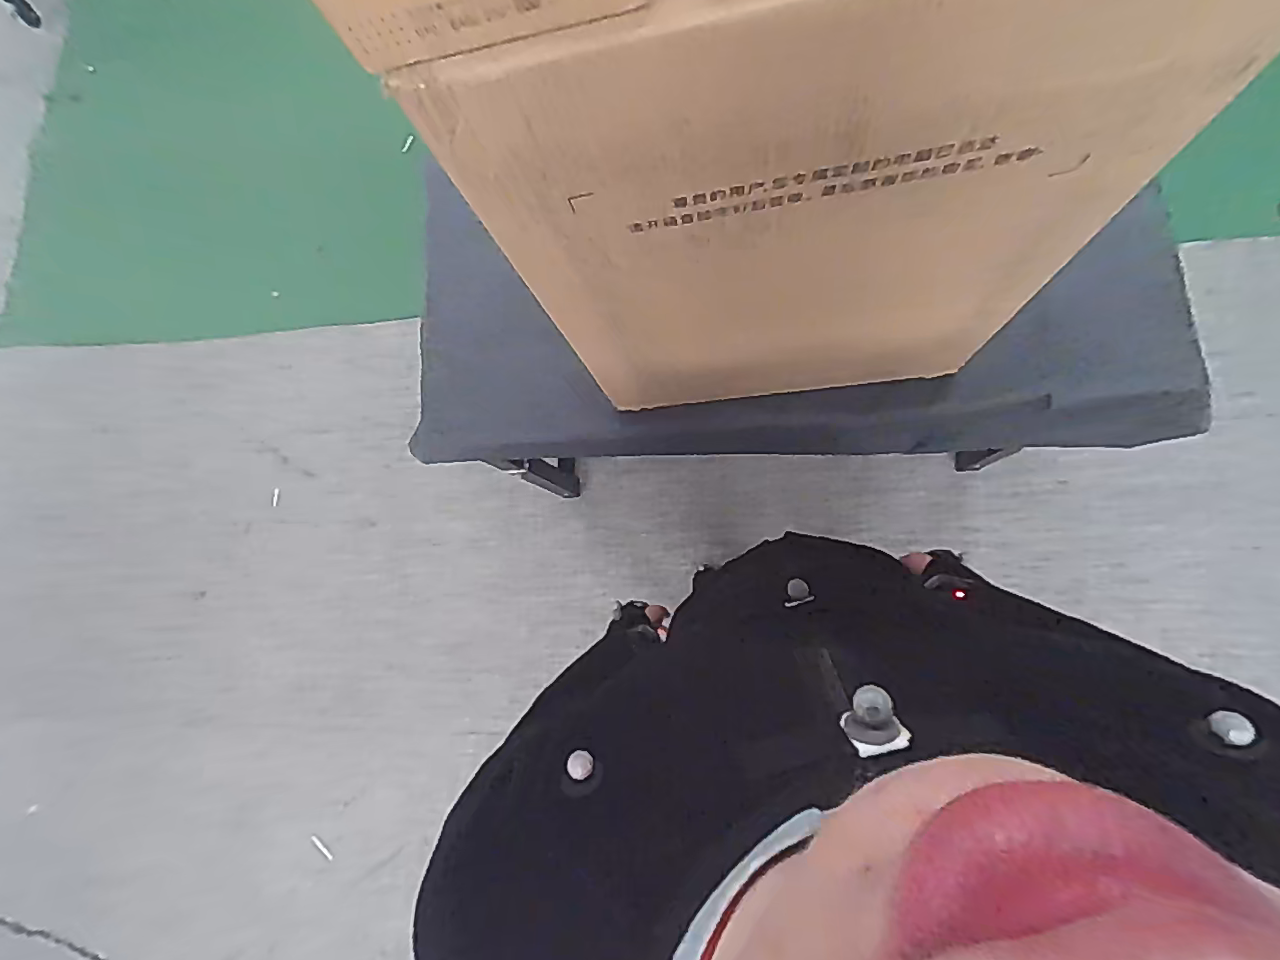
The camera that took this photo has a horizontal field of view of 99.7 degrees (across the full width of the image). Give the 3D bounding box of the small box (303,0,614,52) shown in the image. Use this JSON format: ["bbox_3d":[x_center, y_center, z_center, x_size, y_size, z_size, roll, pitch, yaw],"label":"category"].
[{"bbox_3d":[-0.103,-0.327,0.227,0.168,0.176,0.179,-5,80,11],"label":"small box"}]
